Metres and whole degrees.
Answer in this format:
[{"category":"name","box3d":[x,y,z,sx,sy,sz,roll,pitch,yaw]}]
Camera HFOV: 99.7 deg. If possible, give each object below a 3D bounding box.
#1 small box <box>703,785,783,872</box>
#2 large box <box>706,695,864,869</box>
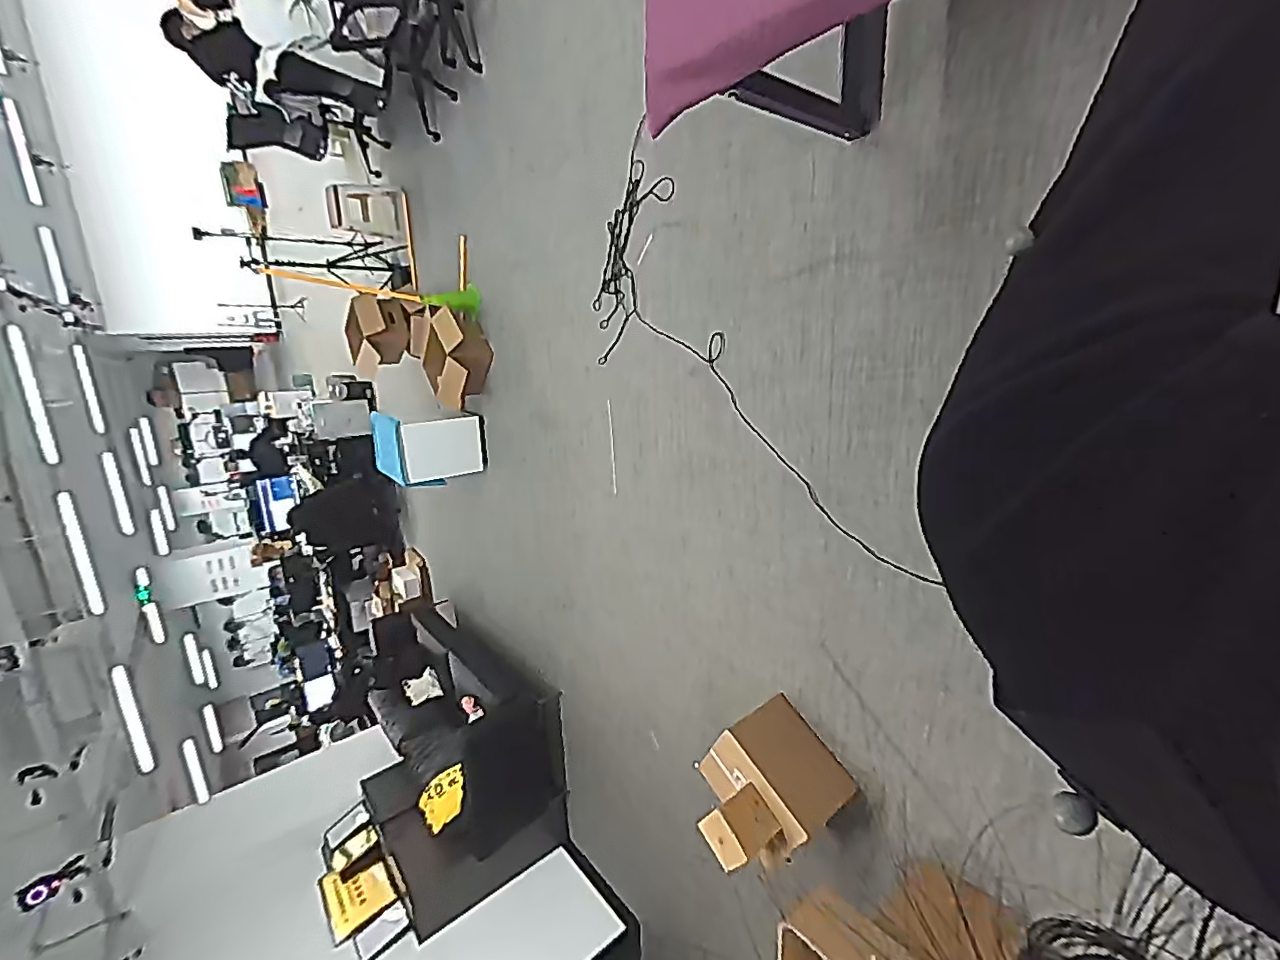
[{"category":"small box","box3d":[0.350,1.169,1.820,0.168,0.176,0.179,52,137,30]},{"category":"large box","box3d":[0.518,1.089,1.981,0.408,0.320,0.320,49,135,35]}]
